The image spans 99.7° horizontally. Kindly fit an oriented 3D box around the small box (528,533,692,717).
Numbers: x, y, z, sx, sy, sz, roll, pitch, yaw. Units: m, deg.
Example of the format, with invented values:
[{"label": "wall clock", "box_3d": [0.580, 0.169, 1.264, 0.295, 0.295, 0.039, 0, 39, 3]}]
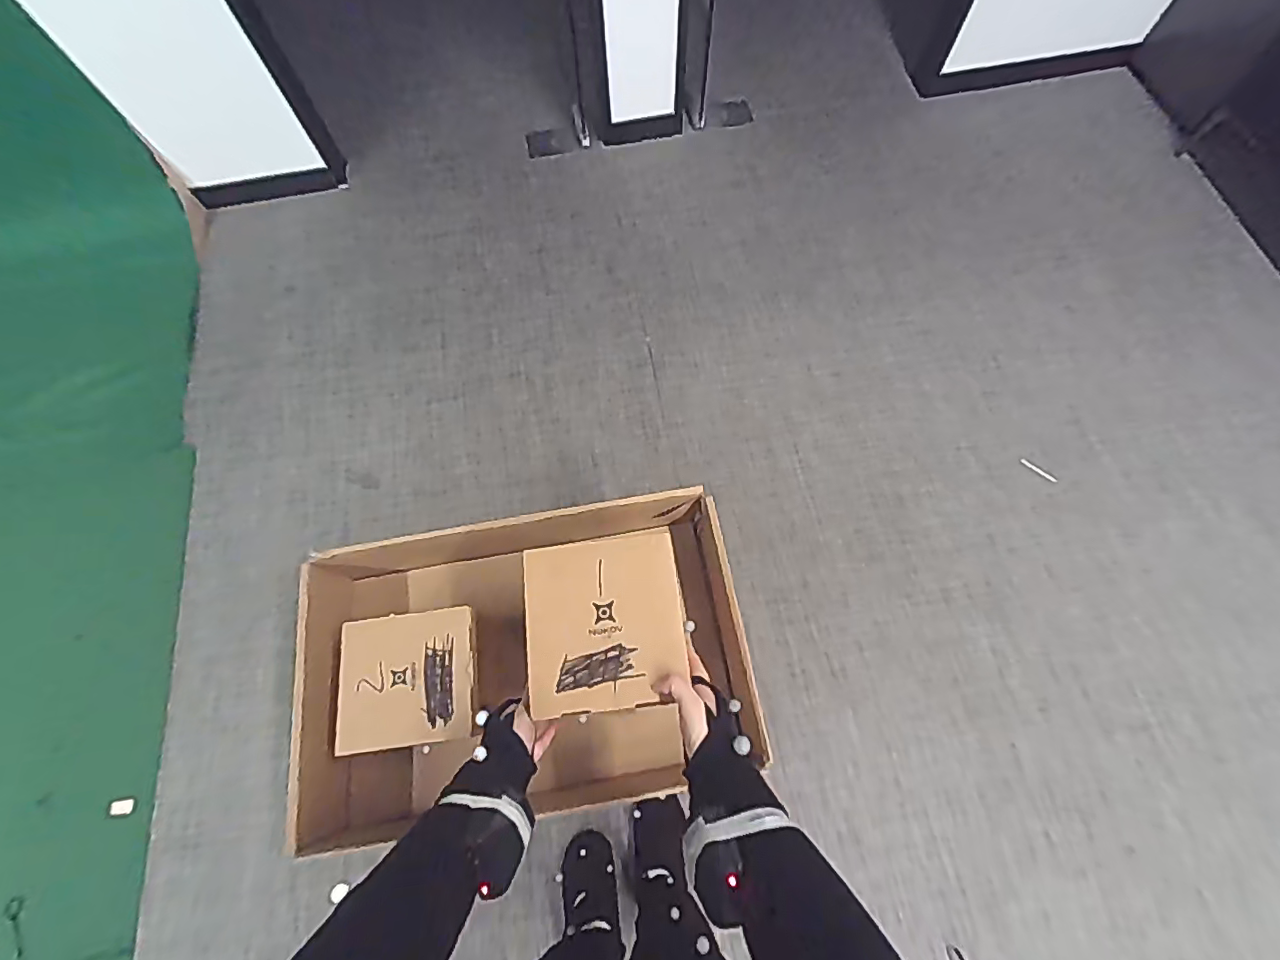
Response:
[{"label": "small box", "box_3d": [-0.032, 0.174, 0.643, 0.168, 0.176, 0.179, -7, 69, -1]}]
